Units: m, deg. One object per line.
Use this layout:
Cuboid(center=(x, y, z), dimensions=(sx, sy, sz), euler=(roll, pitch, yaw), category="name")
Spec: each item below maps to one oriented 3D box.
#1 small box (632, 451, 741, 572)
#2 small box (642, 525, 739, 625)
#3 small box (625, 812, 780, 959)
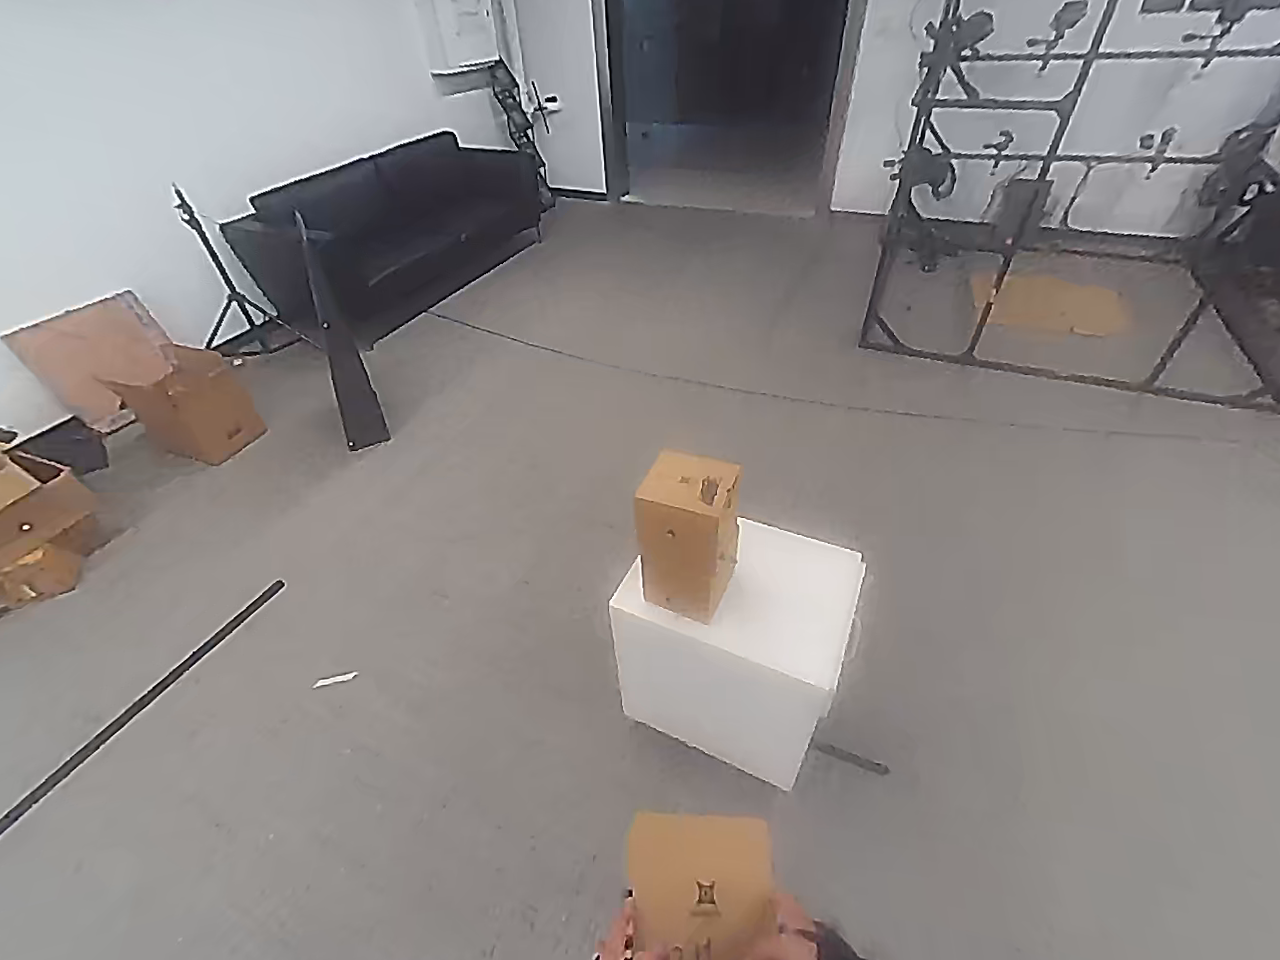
Cuboid(center=(0.100, 0.068, 1.126), dimensions=(0.179, 0.176, 0.168), euler=(13, 43, 20), category="small box")
Cuboid(center=(0.113, 0.192, 1.232), dimensions=(0.168, 0.176, 0.179), euler=(17, 45, 22), category="small box")
Cuboid(center=(0.068, 0.539, 0.678), dimensions=(0.168, 0.176, 0.179), euler=(3, 48, -2), category="small box")
